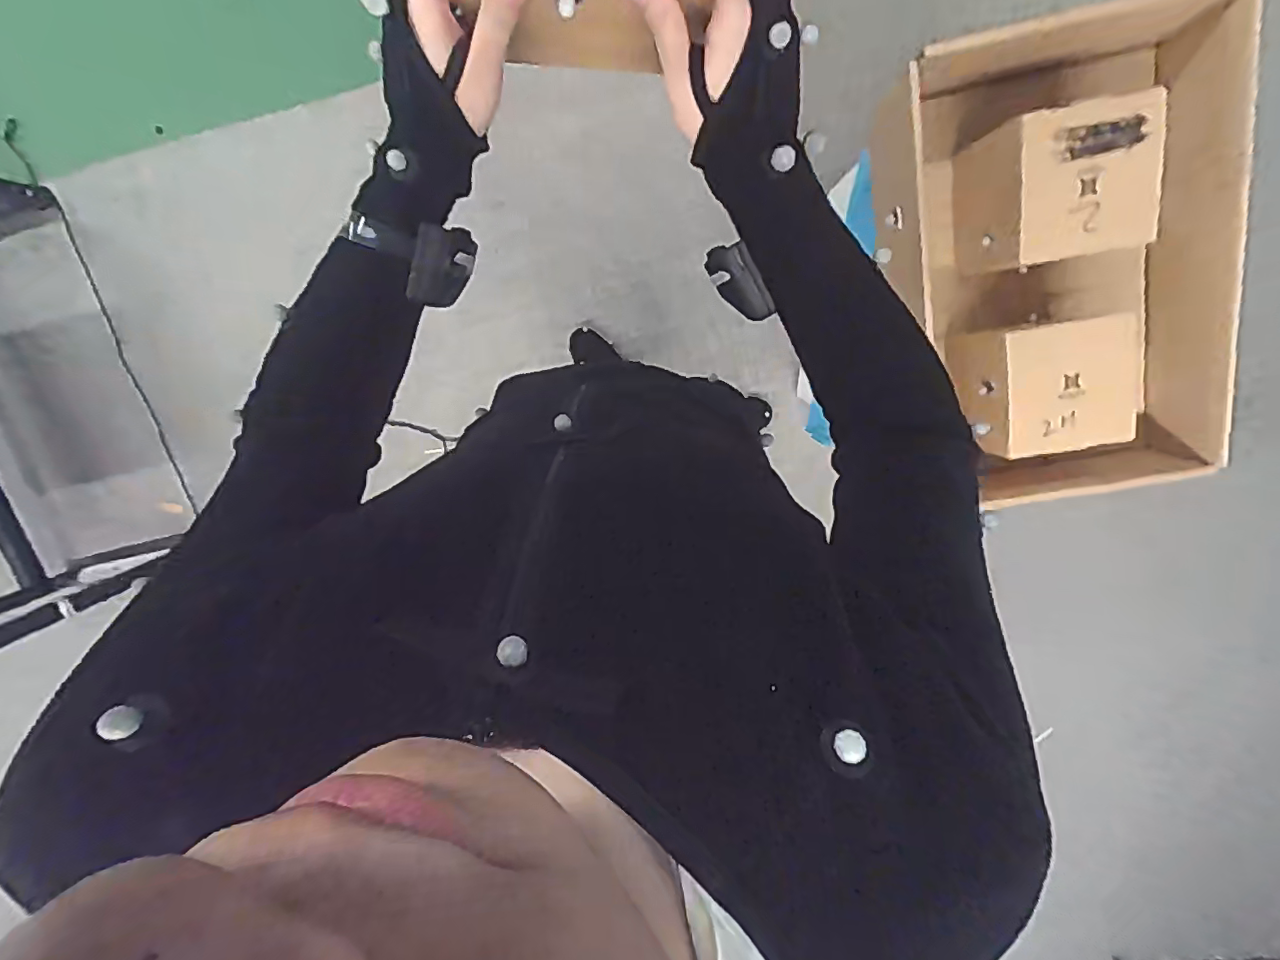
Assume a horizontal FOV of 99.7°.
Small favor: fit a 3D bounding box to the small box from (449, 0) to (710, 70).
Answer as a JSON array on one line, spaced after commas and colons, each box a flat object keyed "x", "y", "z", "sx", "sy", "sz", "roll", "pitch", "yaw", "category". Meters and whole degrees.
[{"x": -0.035, "y": -0.381, "z": 0.323, "sx": 0.179, "sy": 0.176, "sz": 0.168, "roll": 6, "pitch": 102, "yaw": 3, "category": "small box"}]
